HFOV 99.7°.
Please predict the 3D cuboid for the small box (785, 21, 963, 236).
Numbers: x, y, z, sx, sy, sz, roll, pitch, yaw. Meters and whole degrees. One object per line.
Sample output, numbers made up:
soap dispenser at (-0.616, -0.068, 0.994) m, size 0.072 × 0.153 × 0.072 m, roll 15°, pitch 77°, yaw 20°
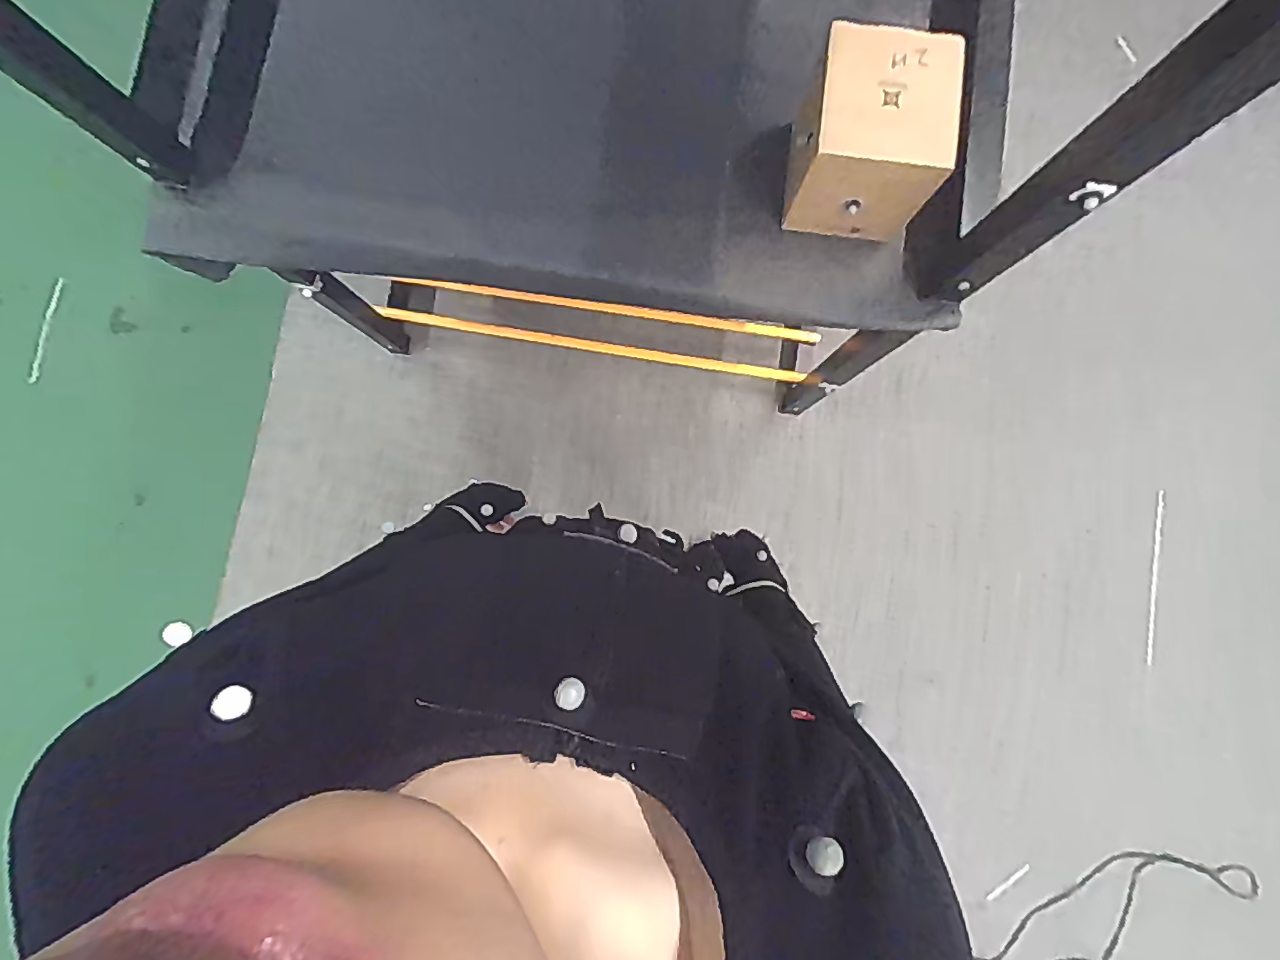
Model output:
small box at (0.302, -0.459, 0.731) m, size 0.168 × 0.176 × 0.179 m, roll 7°, pitch 84°, yaw 0°
